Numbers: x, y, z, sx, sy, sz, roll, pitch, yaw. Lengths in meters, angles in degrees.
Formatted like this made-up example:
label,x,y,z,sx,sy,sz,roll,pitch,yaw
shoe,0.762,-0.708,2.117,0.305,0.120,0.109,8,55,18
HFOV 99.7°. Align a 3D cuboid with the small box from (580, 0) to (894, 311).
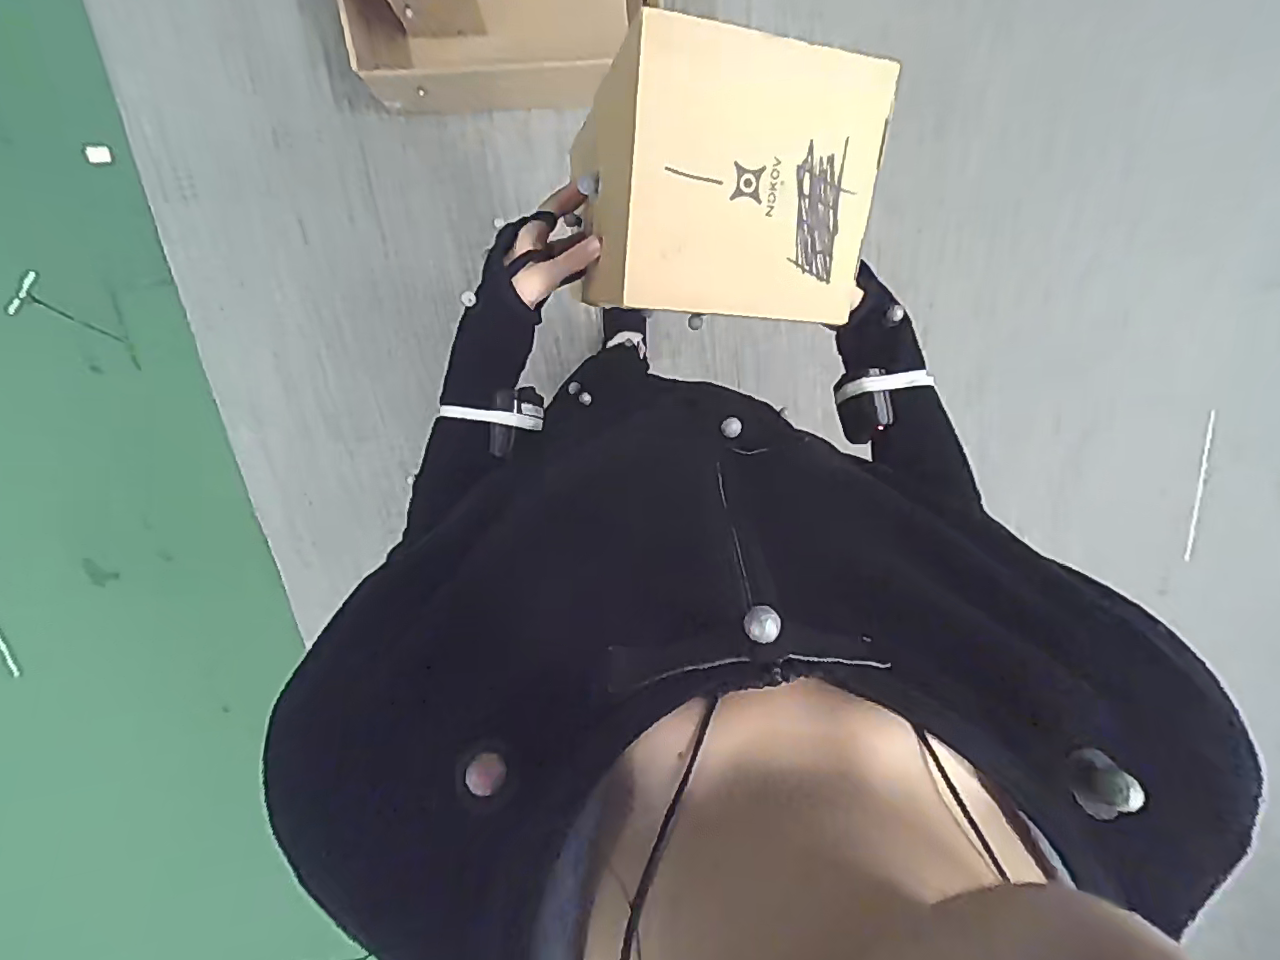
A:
label,x,y,z,sx,sy,sz,roll,pitch,yaw
small box,0.054,-0.231,0.425,0.179,0.176,0.168,1,109,-14
